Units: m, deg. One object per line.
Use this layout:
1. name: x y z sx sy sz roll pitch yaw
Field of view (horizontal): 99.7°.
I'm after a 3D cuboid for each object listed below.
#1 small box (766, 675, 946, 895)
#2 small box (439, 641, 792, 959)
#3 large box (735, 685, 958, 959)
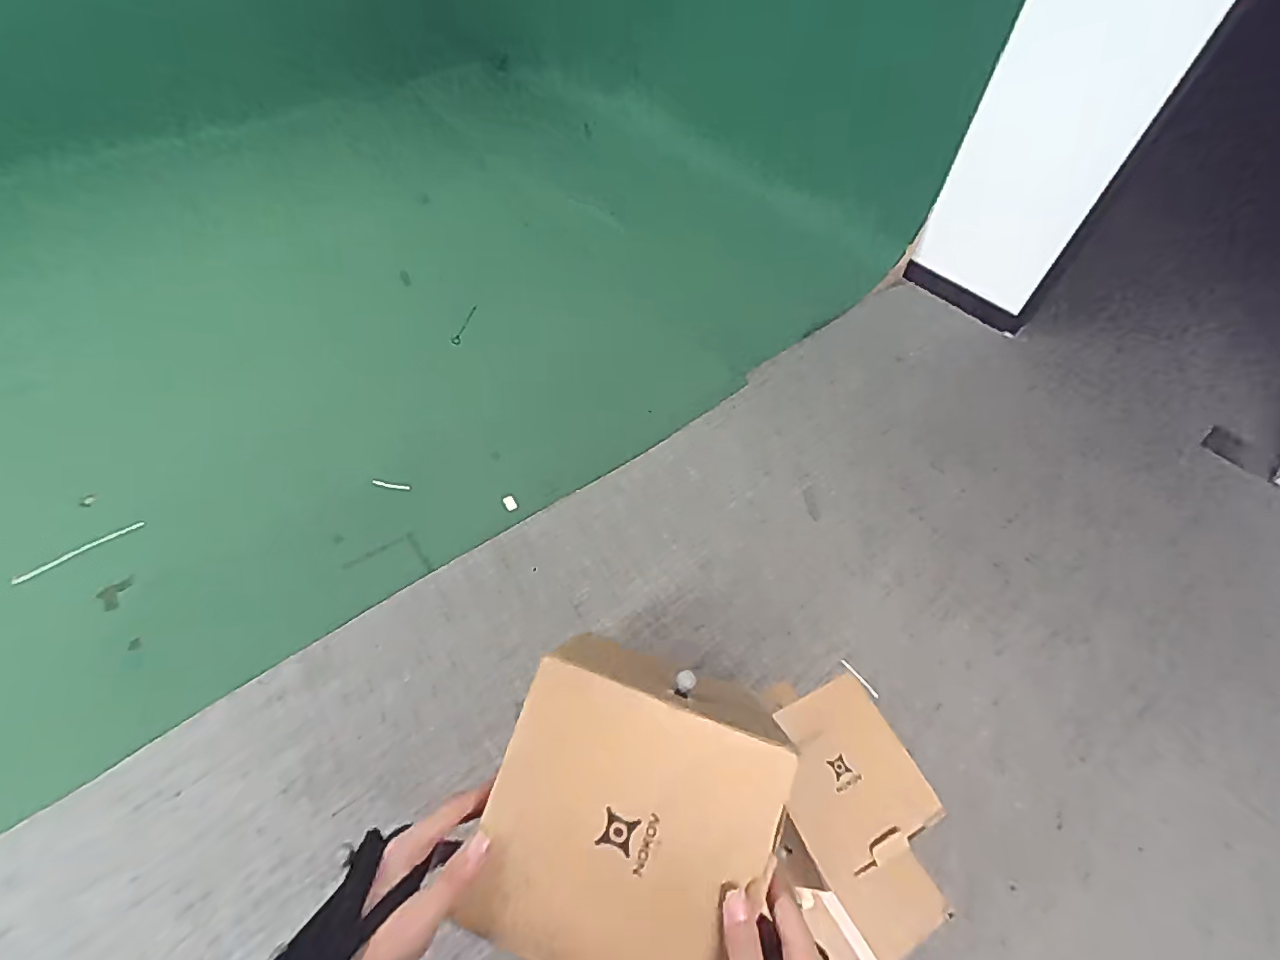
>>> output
1. small box: 0.232 0.383 0.686 0.168 0.176 0.179 -22 56 -16
2. small box: -0.011 0.229 0.405 0.179 0.176 0.168 18 80 5
3. large box: 0.248 0.664 0.986 0.320 0.320 0.408 -27 59 -17
